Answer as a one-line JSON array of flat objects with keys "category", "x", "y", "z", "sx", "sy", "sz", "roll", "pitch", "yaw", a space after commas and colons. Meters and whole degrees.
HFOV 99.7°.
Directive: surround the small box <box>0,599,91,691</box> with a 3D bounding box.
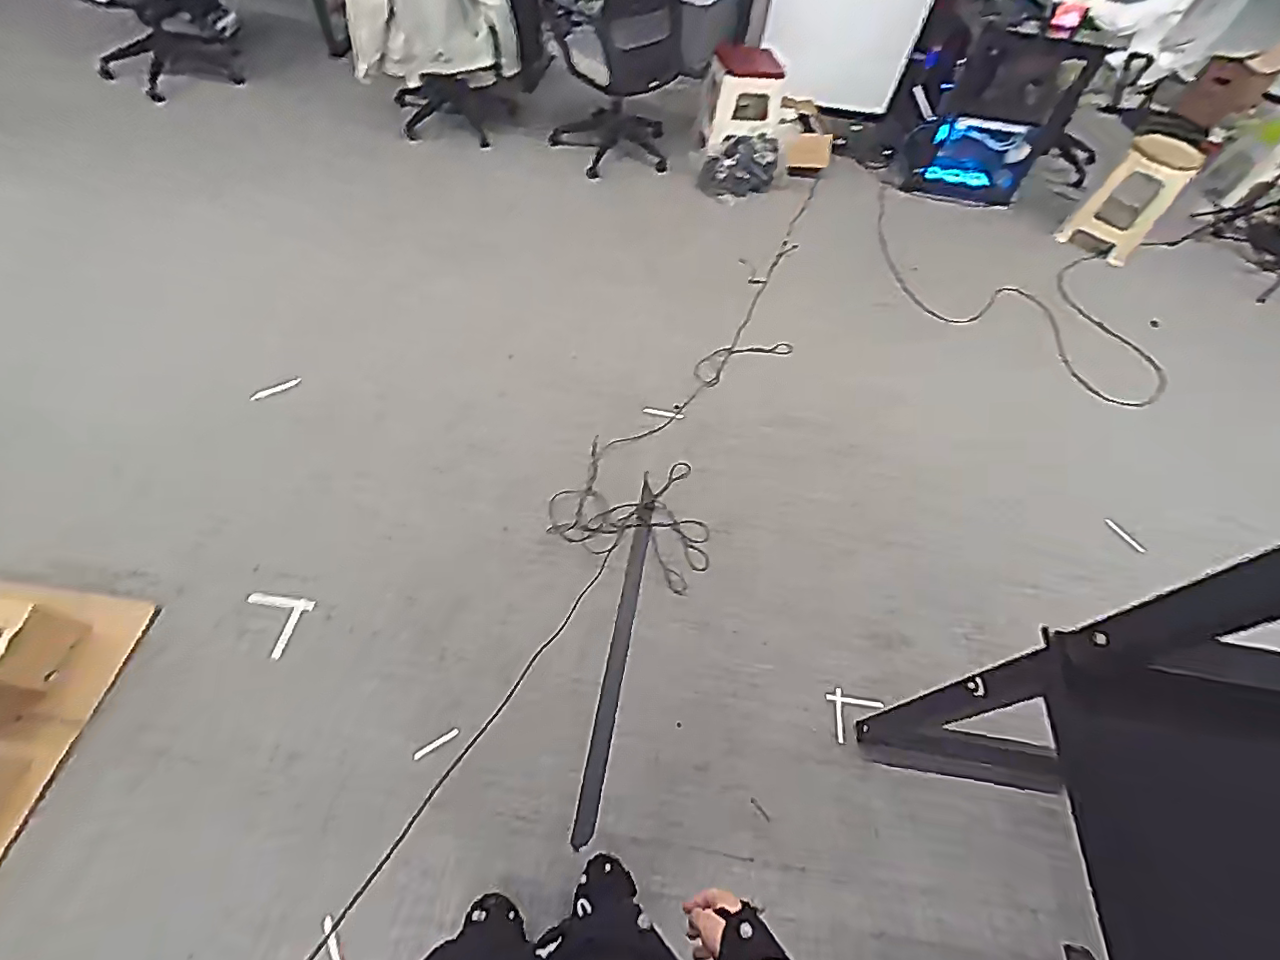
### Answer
[{"category": "small box", "x": -1.453, "y": 0.381, "z": 1.247, "sx": 0.179, "sy": 0.176, "sz": 0.168, "roll": 6, "pitch": 57, "yaw": -2}]
